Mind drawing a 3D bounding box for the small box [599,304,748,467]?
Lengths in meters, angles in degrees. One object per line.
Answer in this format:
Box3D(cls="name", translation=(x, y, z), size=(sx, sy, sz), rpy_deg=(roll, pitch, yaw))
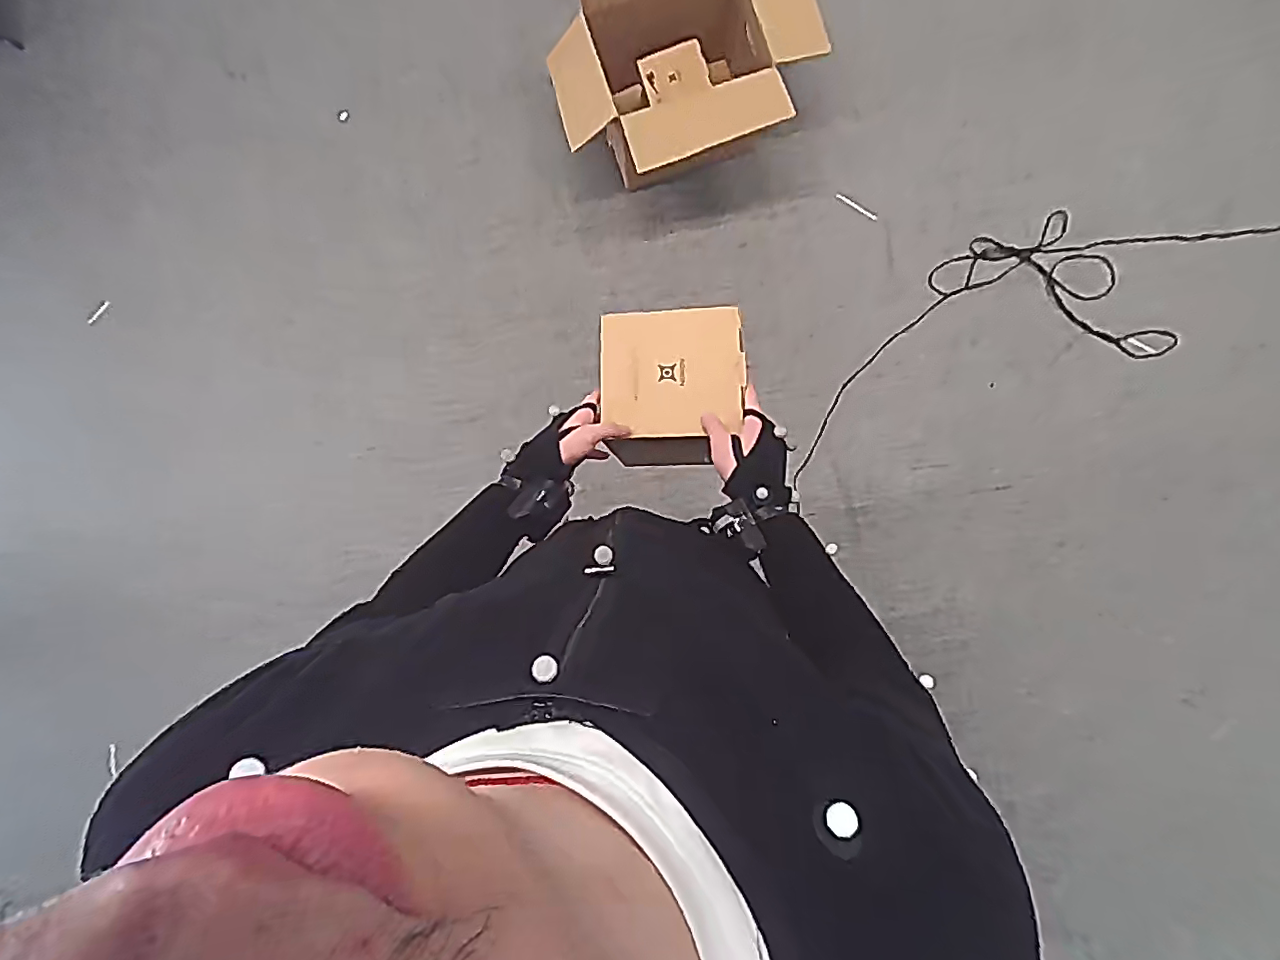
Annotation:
Box3D(cls="small box", translation=(0.051, -0.117, 0.724), size=(0.179, 0.176, 0.168), rpy_deg=(0, 77, 9))
